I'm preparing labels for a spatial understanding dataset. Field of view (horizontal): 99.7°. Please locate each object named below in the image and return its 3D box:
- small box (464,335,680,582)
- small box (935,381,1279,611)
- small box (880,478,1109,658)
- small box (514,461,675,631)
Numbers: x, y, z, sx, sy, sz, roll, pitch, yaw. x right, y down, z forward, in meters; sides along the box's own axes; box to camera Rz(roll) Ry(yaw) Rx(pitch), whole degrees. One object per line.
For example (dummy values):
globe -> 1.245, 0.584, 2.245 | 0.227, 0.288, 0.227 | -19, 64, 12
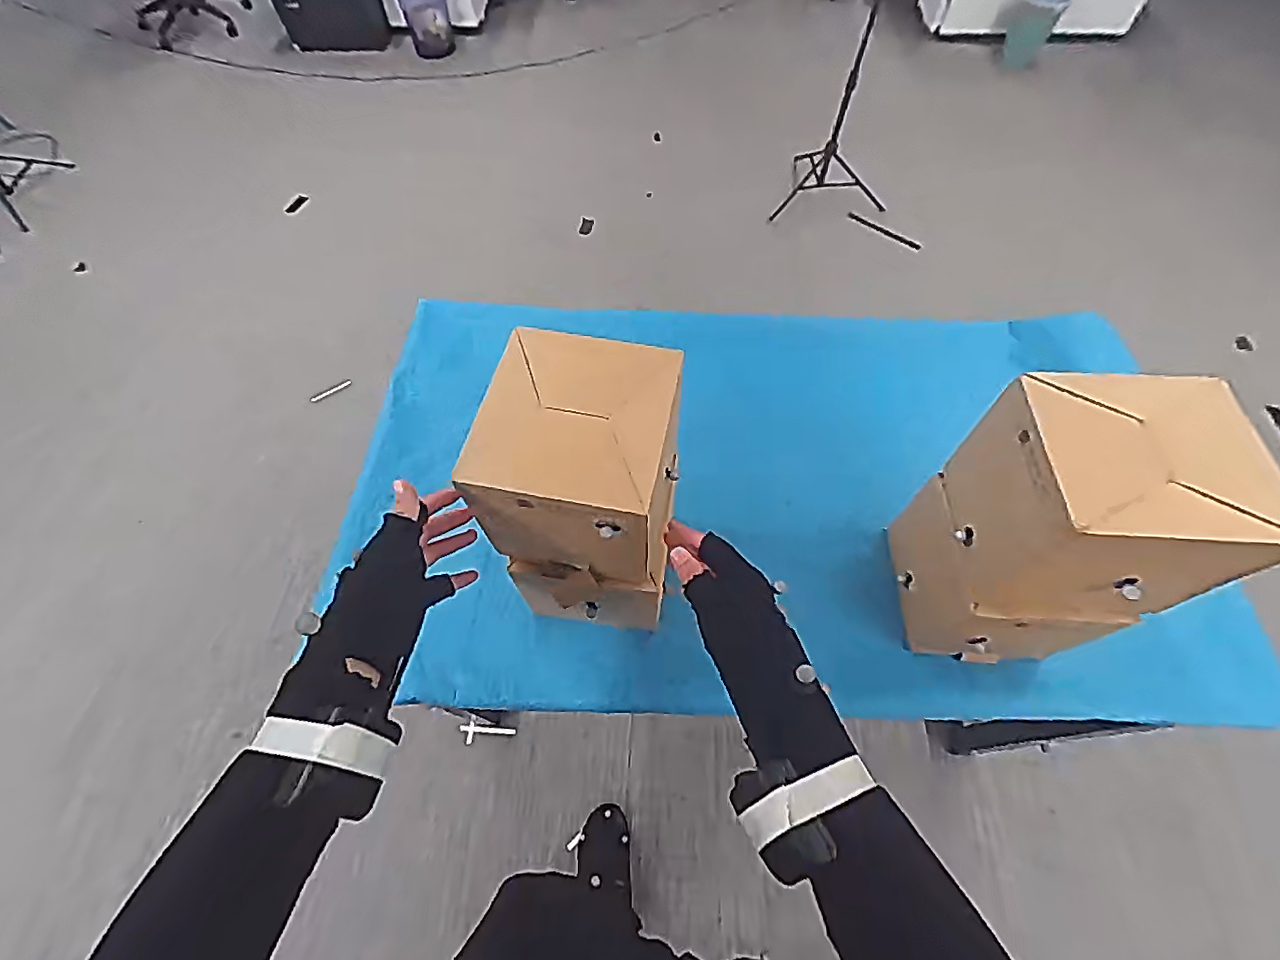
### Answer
small box -> -0.056, -0.018, 0.546 | 0.168, 0.176, 0.179 | 10, 62, 6
small box -> 0.425, 0.019, 0.523 | 0.179, 0.176, 0.168 | 2, 58, 5
small box -> 0.420, 0.108, 0.661 | 0.168, 0.176, 0.179 | 2, 59, 2
small box -> -0.048, 0.075, 0.683 | 0.168, 0.176, 0.179 | 7, 61, 4
